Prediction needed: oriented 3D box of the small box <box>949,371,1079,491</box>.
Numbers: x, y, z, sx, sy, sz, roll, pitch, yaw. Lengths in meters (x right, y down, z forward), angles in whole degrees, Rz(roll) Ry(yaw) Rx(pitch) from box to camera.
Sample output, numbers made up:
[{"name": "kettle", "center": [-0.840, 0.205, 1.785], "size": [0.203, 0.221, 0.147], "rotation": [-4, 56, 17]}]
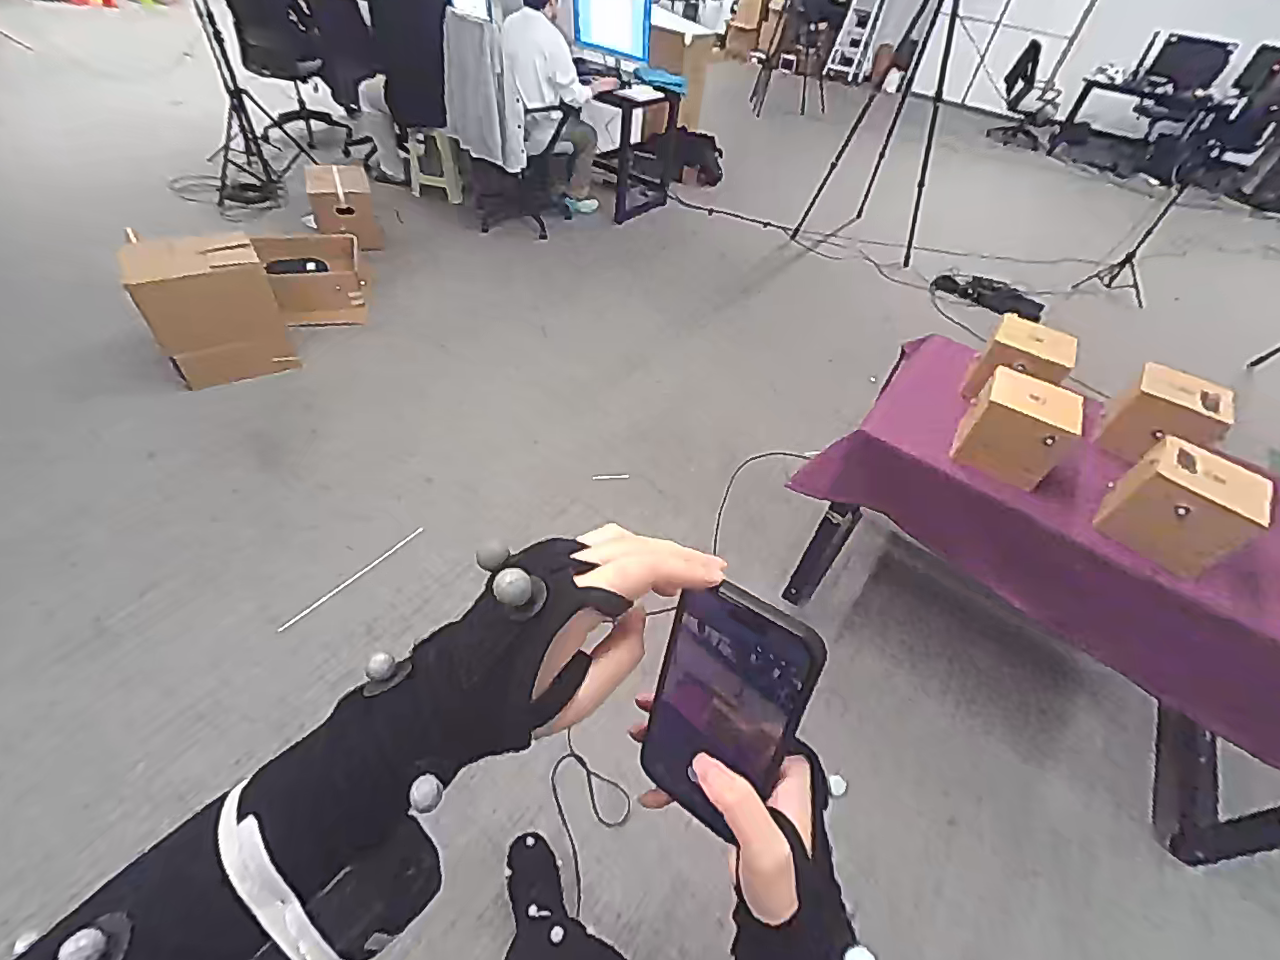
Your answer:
[{"name": "small box", "center": [0.816, -0.106, 1.190], "size": [0.179, 0.176, 0.168], "rotation": [29, 49, 17]}]

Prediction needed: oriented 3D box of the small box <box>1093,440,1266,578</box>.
[{"name": "small box", "center": [1.052, 0.058, 1.066], "size": [0.179, 0.176, 0.168], "rotation": [39, 53, 25]}]
